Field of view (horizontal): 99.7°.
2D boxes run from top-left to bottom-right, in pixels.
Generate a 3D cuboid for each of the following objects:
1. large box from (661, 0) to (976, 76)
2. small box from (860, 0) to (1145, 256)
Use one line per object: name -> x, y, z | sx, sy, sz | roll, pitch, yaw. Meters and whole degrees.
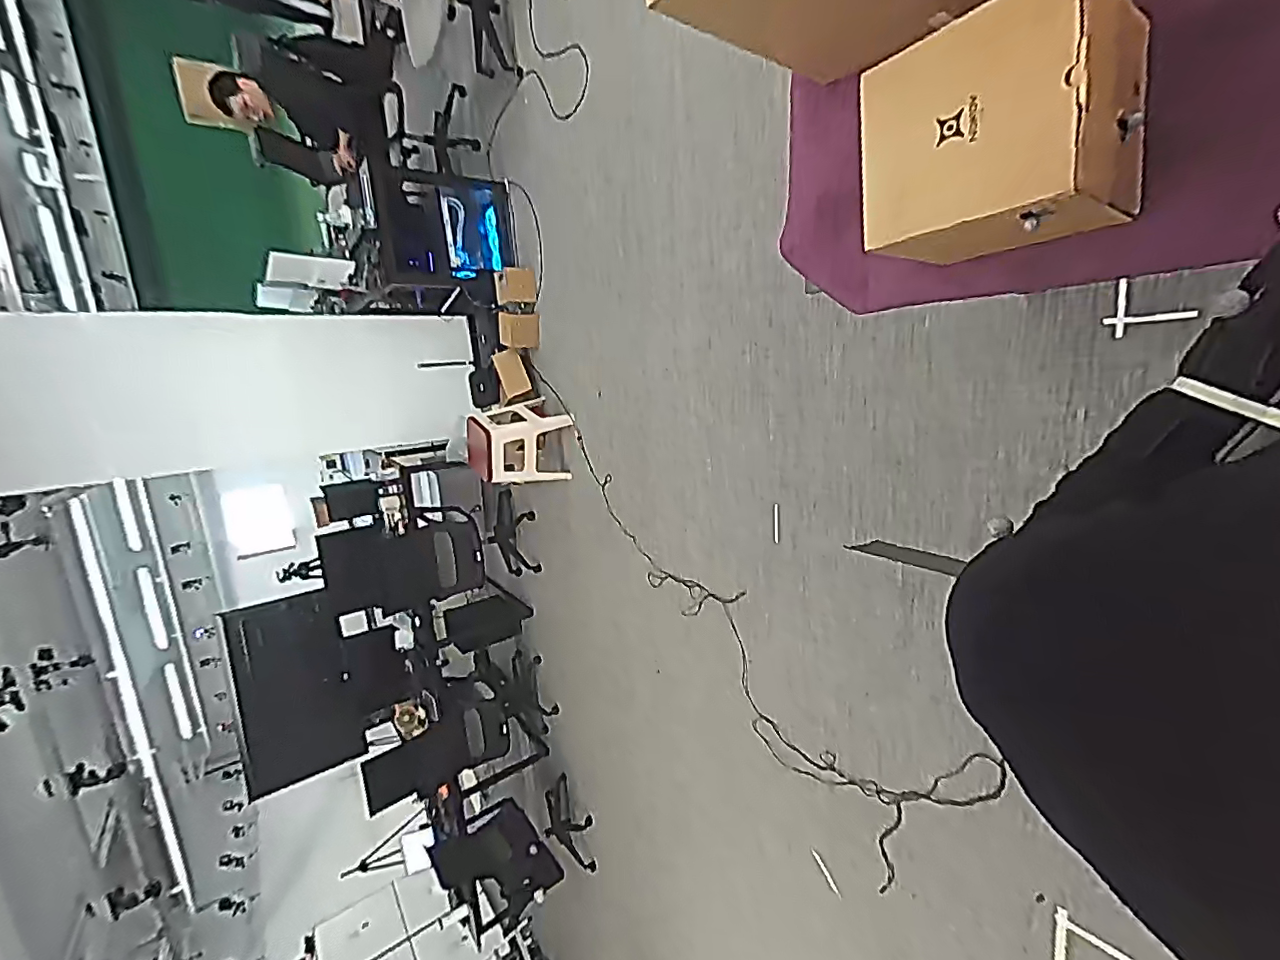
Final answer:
large box -> 0.208, -0.662, 0.455 | 0.320, 0.320, 0.408 | 10, 111, 52
small box -> 0.334, -0.321, 0.510 | 0.179, 0.176, 0.168 | 5, 104, 54
